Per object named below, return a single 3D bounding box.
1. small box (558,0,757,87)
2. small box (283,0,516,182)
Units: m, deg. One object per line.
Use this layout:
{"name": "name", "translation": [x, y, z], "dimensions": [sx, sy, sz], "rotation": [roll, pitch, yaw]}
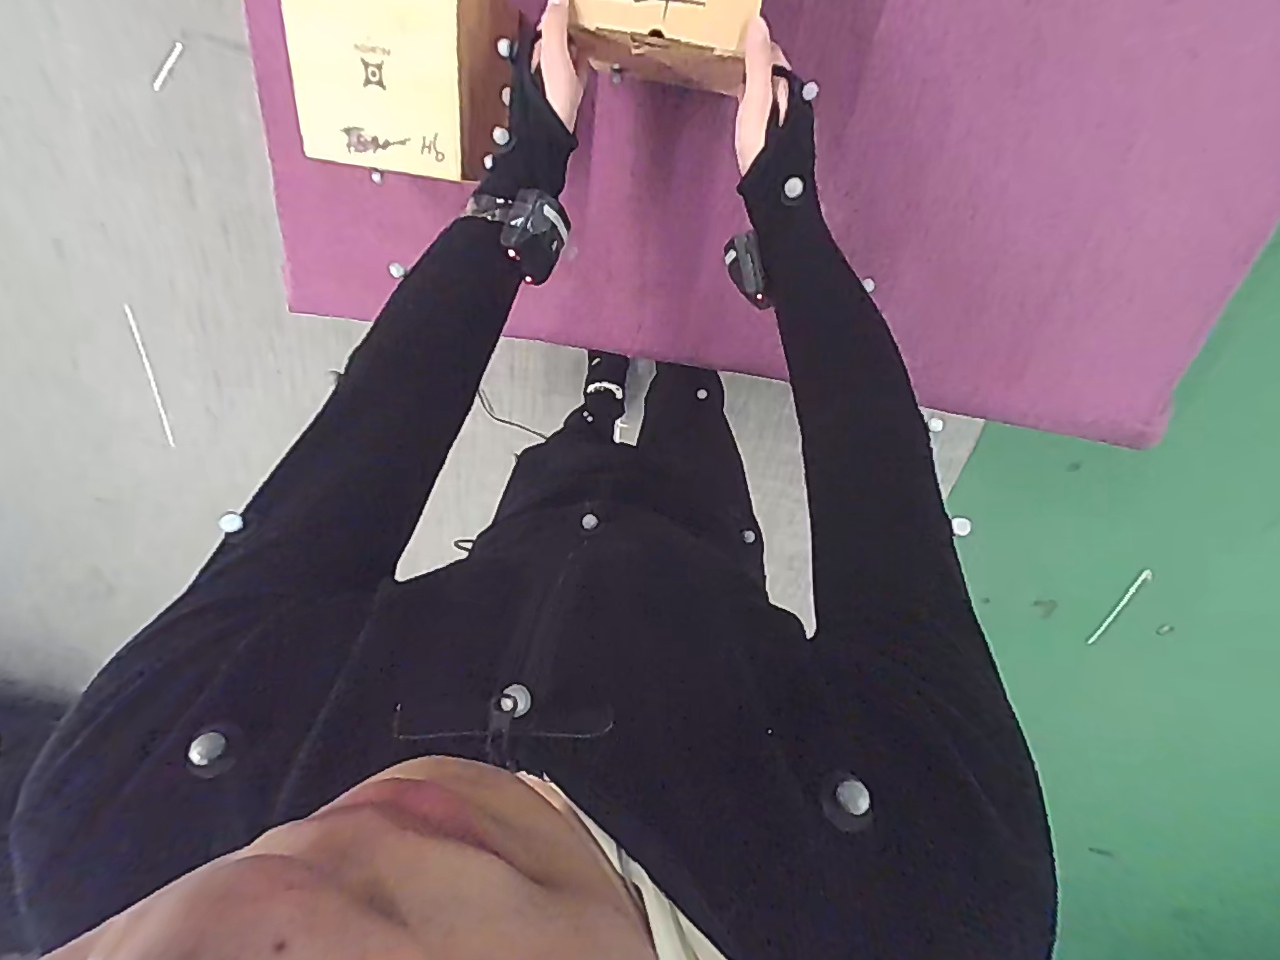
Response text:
{"name": "small box", "translation": [0.032, -0.485, 0.488], "dimensions": [0.168, 0.176, 0.179], "rotation": [11, 116, 0]}
{"name": "small box", "translation": [-0.238, -0.428, 0.571], "dimensions": [0.168, 0.176, 0.179], "rotation": [11, 118, 2]}
